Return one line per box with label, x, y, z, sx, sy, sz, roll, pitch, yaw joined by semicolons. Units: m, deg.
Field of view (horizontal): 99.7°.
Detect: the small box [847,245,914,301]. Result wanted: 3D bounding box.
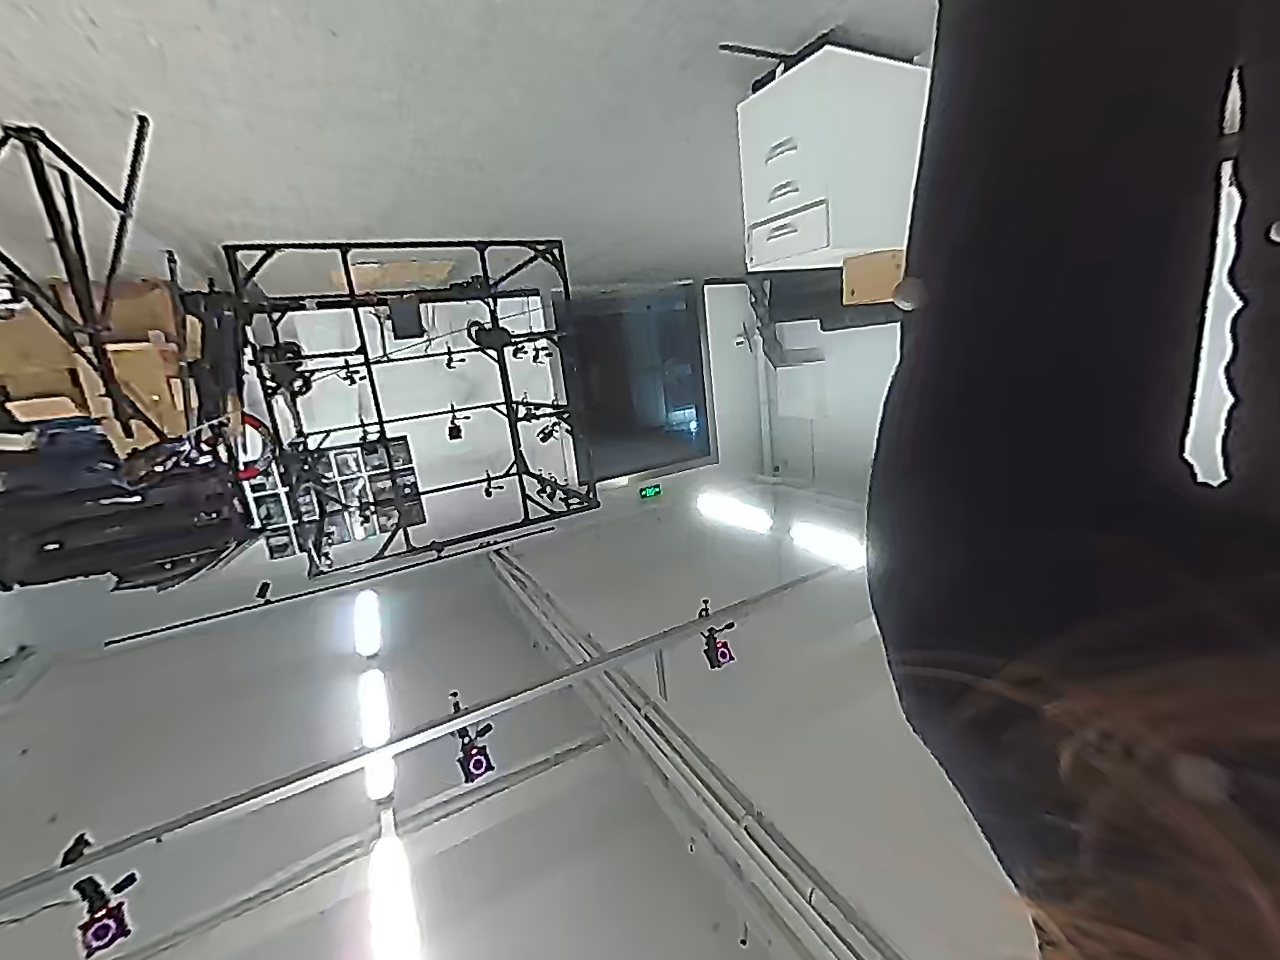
small box;0.891;-0.763;2.000;0.168;0.176;0.179;-14;-164;-26
